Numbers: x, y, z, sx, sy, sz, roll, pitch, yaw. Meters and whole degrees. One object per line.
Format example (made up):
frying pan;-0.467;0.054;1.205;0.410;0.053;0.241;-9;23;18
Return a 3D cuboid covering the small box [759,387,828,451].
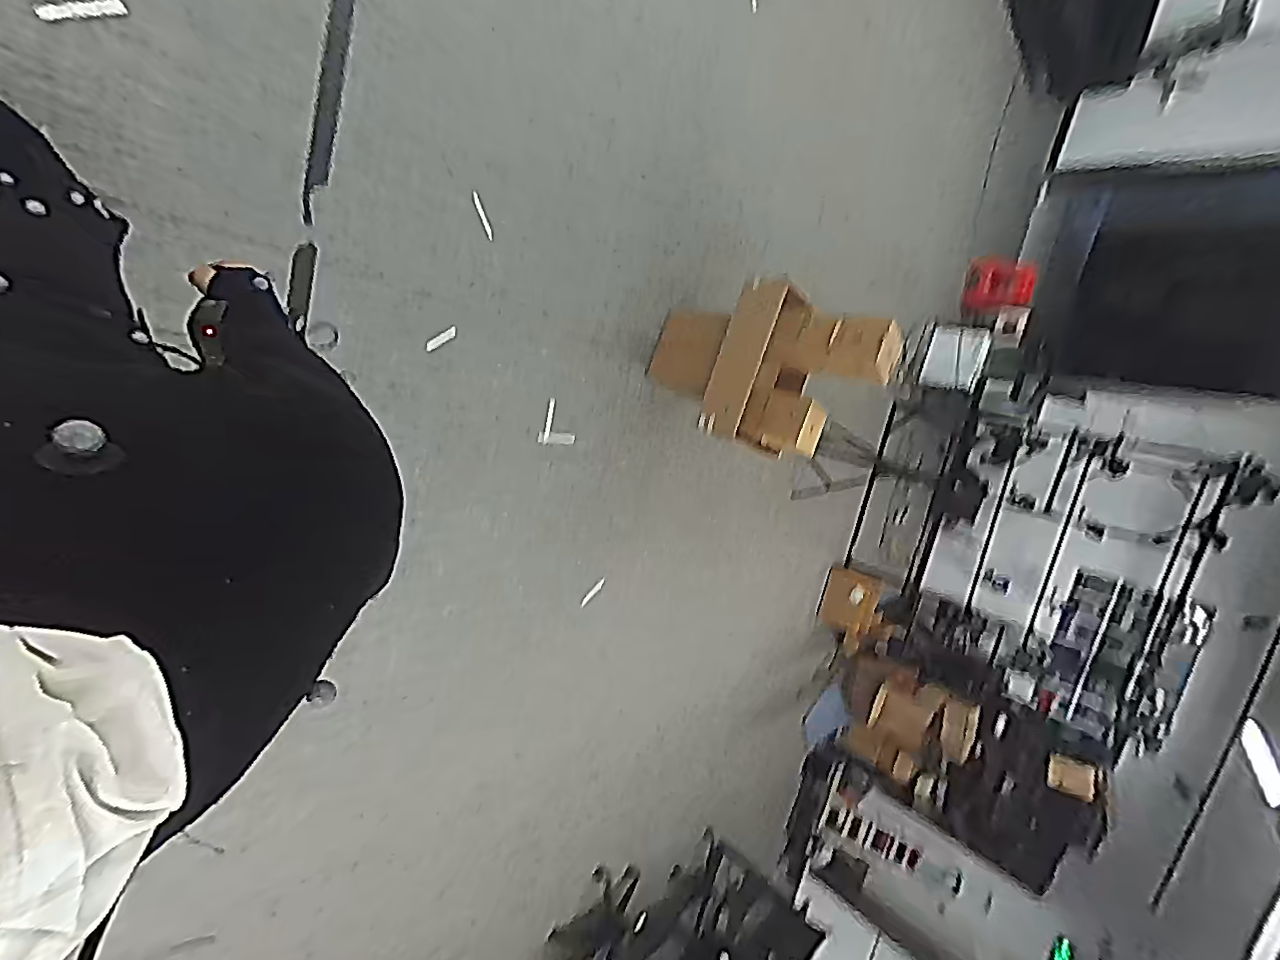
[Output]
small box;0.566;-0.227;2.007;0.168;0.176;0.179;20;90;-50

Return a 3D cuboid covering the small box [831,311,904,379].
small box;0.795;-0.476;1.895;0.179;0.176;0.168;34;81;-49

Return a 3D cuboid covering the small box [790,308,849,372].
small box;0.682;-0.522;2.006;0.179;0.176;0.168;28;85;-50
